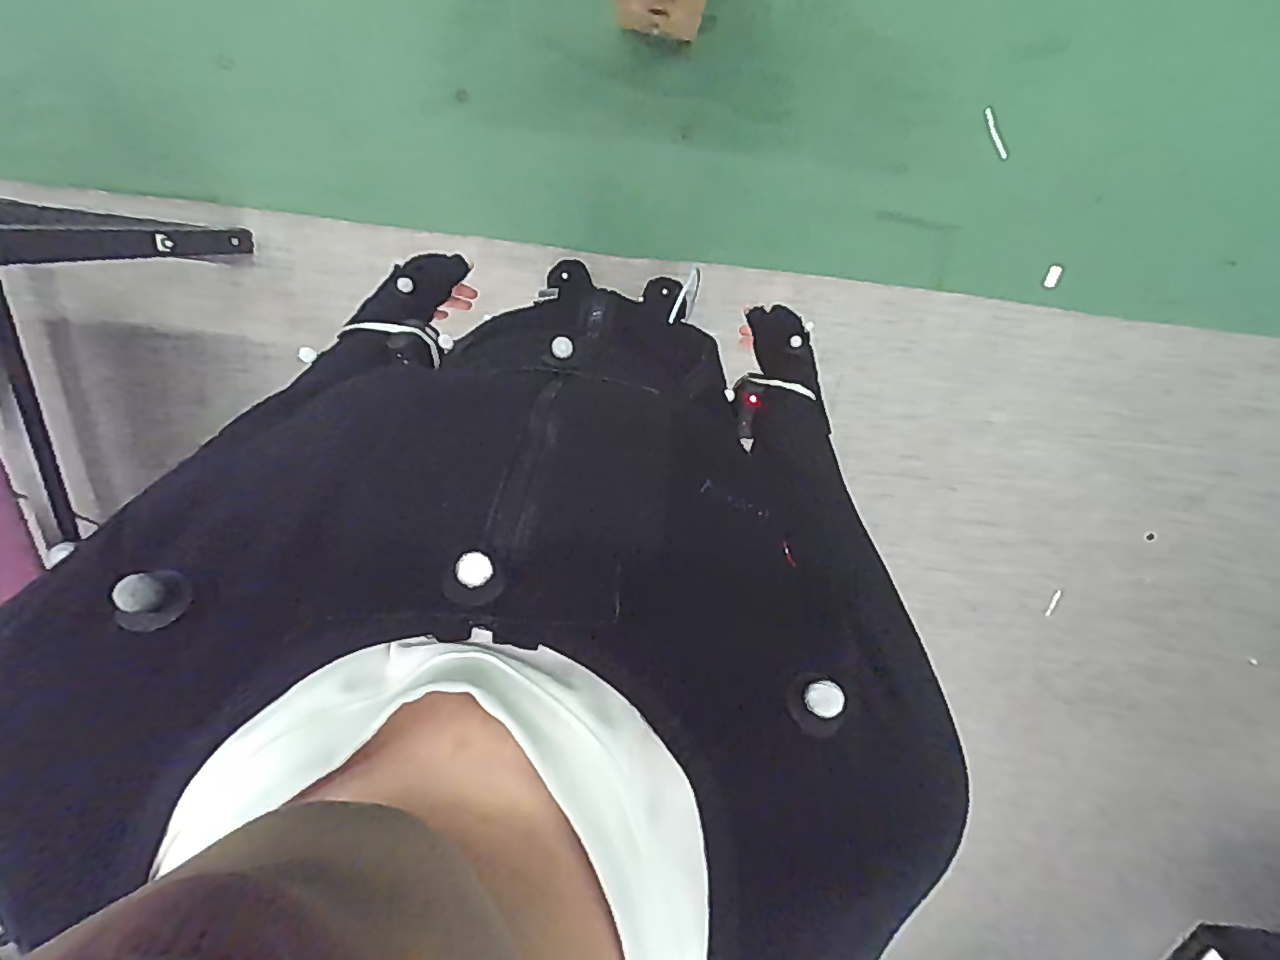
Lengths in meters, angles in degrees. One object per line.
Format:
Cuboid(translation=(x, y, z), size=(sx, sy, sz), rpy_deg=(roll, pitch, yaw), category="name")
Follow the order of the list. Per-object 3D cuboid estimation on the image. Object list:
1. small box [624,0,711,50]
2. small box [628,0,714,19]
Cuboid(translation=(0.060, -0.973, 1.037), size=(0.168, 0.176, 0.179), rpy_deg=(9, 113, -4), category="small box")
Cuboid(translation=(0.059, -0.909, 0.888), size=(0.168, 0.176, 0.179), rpy_deg=(7, 114, -4), category="small box")
